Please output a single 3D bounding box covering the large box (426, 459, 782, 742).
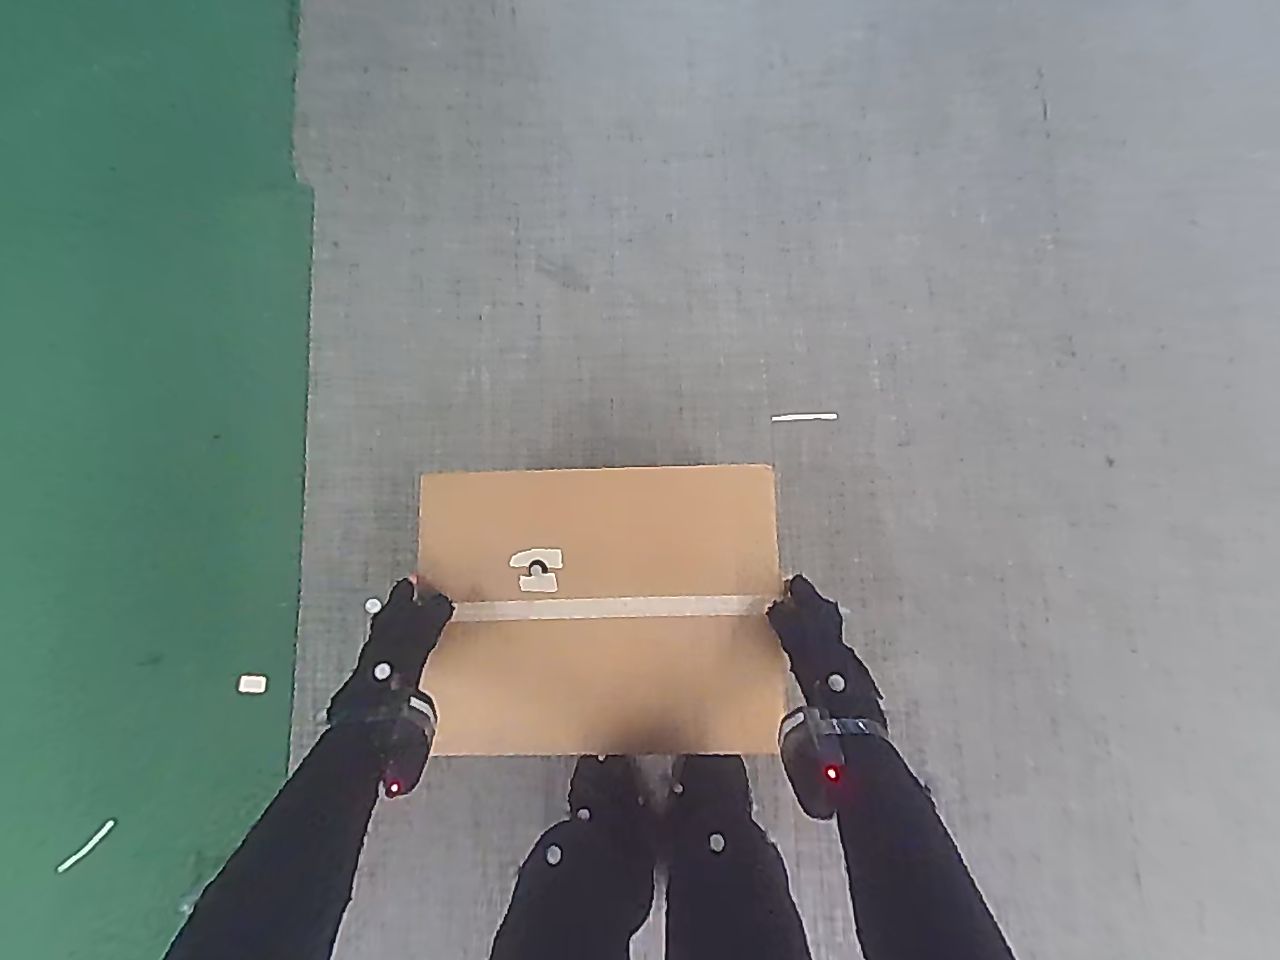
[{"bbox_3d":[-0.037,0.148,0.759,0.408,0.320,0.320,-1,84,3],"label":"large box"}]
